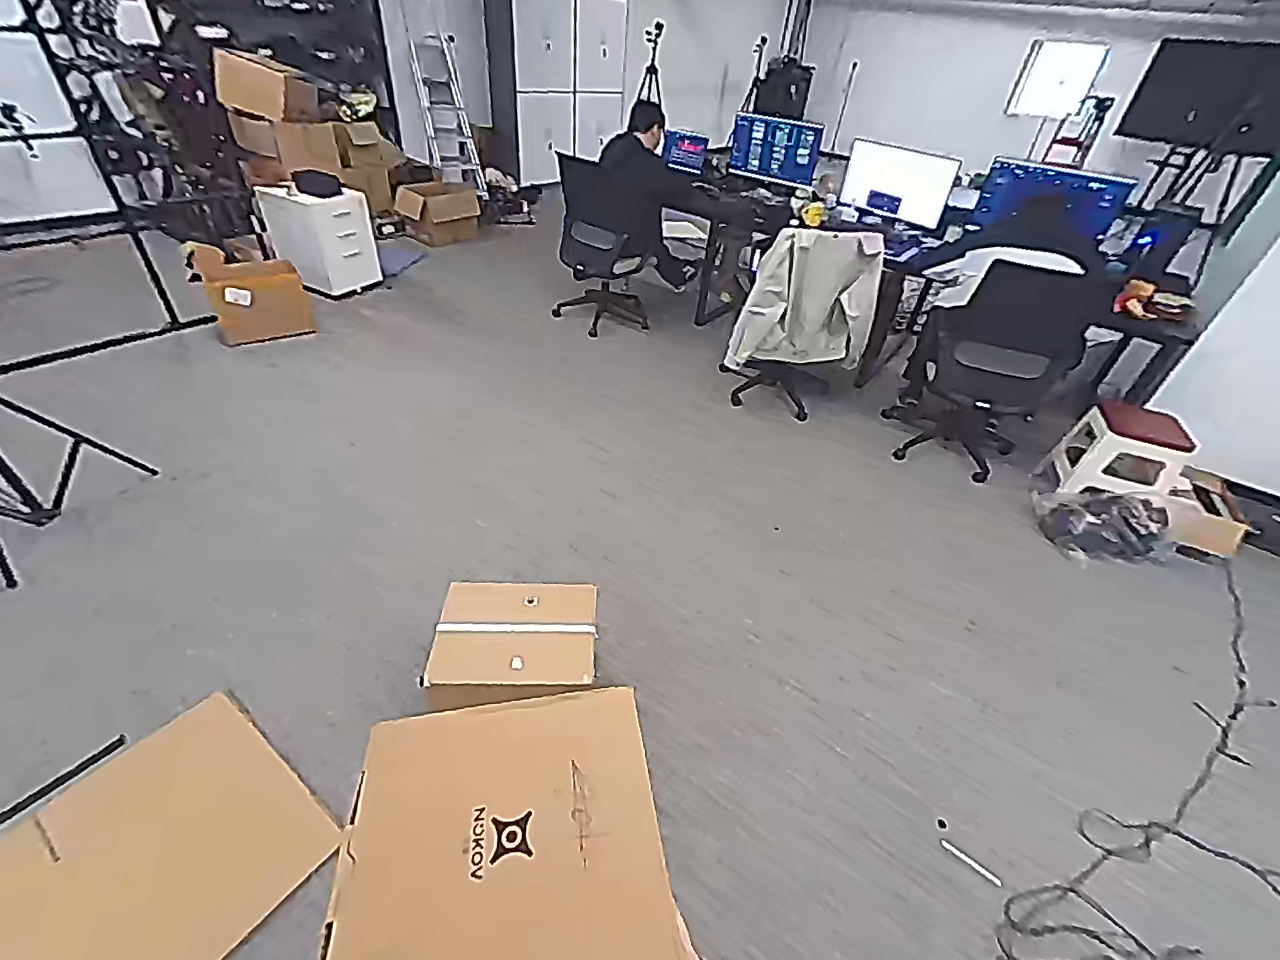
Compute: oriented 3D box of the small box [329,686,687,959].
[{"bbox_3d":[-0.076,0.265,0.354,0.179,0.176,0.168,-5,39,-10],"label":"small box"}]
